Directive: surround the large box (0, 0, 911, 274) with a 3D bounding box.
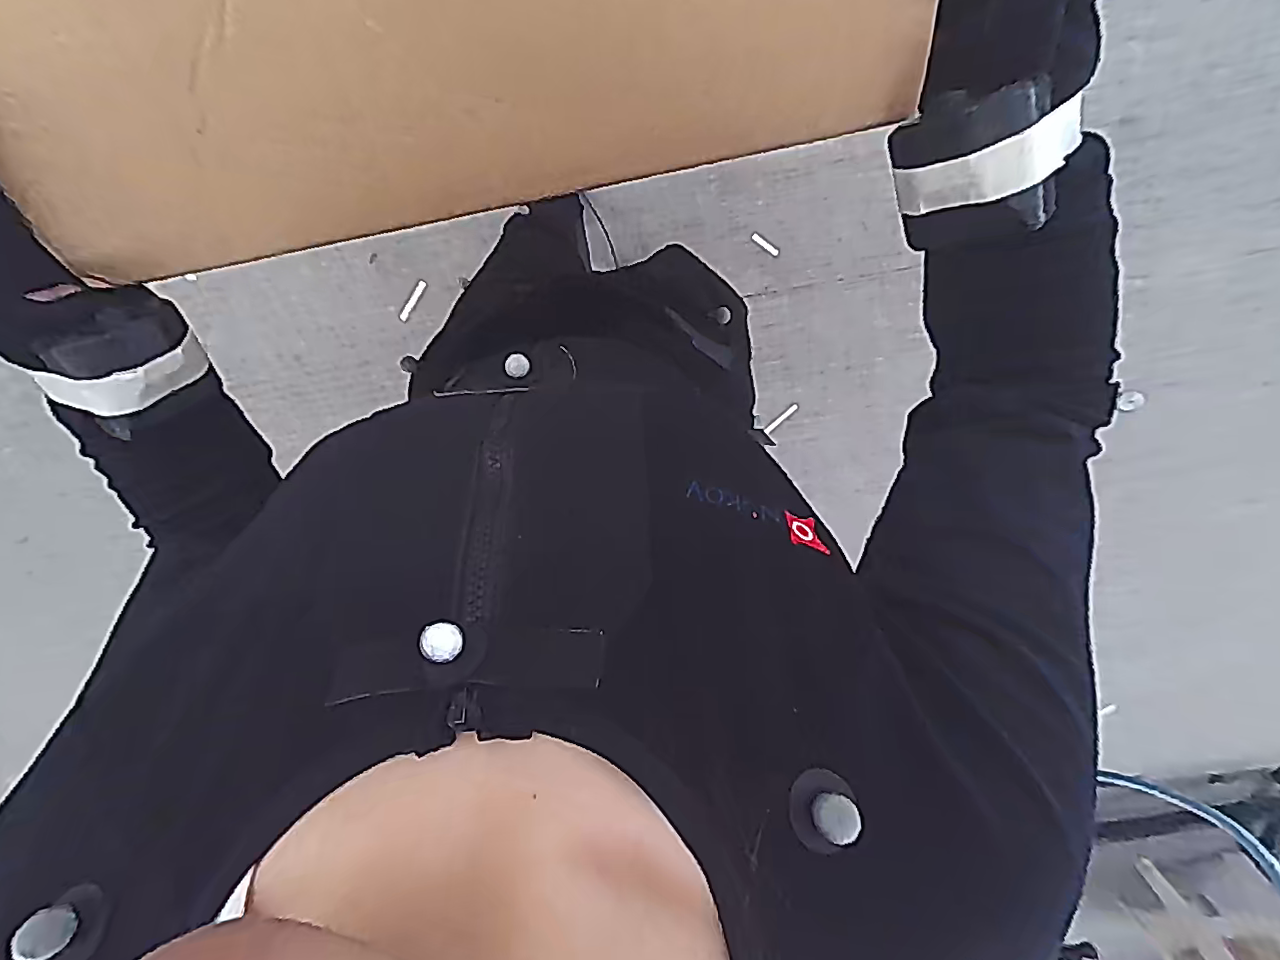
[{"bbox_3d":[-0.113,-0.350,0.248,0.408,0.320,0.320,-10,138,3],"label":"large box"}]
